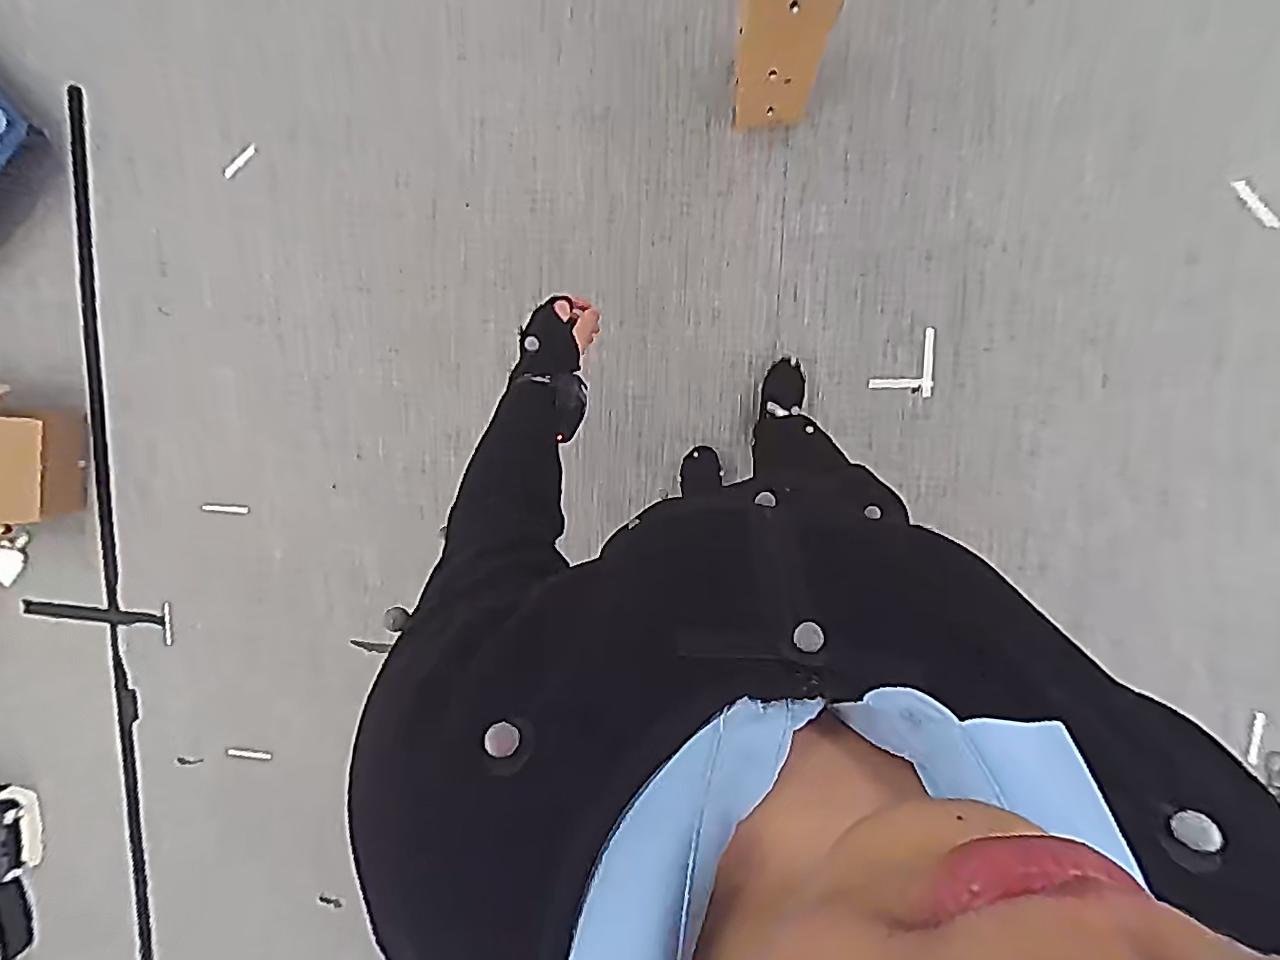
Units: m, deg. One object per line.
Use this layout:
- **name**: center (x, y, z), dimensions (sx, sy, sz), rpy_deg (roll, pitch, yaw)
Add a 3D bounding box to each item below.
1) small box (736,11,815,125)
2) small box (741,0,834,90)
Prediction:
- **small box**: center (0.316, -0.966, 1.272), dimensions (0.168, 0.176, 0.179), rpy_deg (-1, 96, 7)
- **small box**: center (0.297, -0.949, 1.112), dimensions (0.168, 0.176, 0.179), rpy_deg (0, 97, 7)
